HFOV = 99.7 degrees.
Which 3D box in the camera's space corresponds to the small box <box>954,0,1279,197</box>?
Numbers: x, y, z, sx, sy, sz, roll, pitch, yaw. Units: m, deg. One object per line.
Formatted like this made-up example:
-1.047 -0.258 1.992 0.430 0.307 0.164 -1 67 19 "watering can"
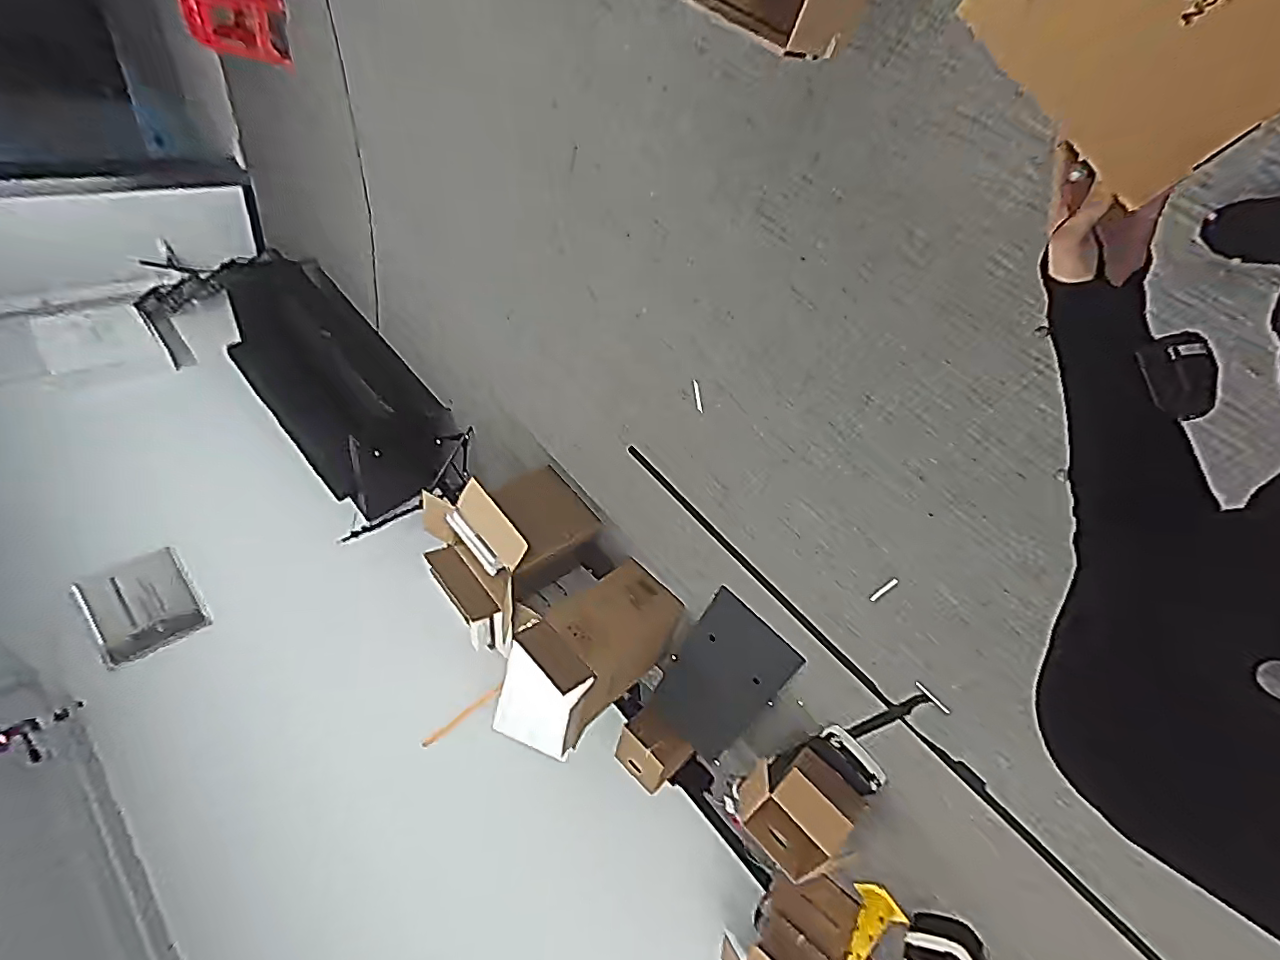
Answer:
0.331 -0.317 0.329 0.179 0.176 0.168 45 141 -3 "small box"
